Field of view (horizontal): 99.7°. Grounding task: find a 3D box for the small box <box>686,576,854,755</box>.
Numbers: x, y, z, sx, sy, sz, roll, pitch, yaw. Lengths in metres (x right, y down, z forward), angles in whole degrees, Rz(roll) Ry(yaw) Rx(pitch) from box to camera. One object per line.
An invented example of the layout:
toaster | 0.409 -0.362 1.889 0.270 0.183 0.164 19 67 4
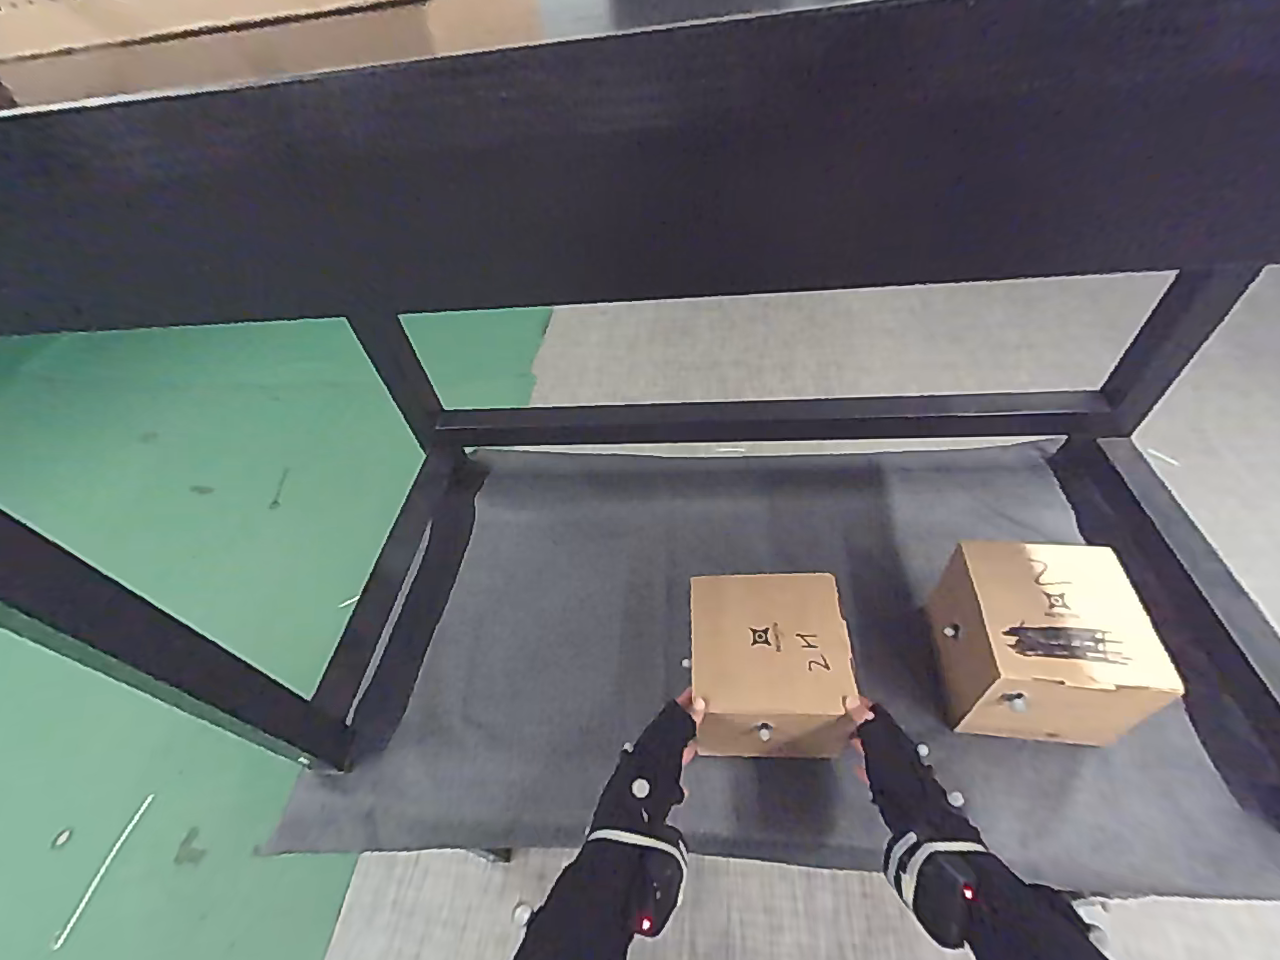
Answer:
small box | 0.151 0.234 0.675 0.179 0.176 0.168 -2 50 7

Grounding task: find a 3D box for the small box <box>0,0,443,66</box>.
small box | -0.156 -0.261 0.182 0.168 0.176 0.179 -1 48 7
